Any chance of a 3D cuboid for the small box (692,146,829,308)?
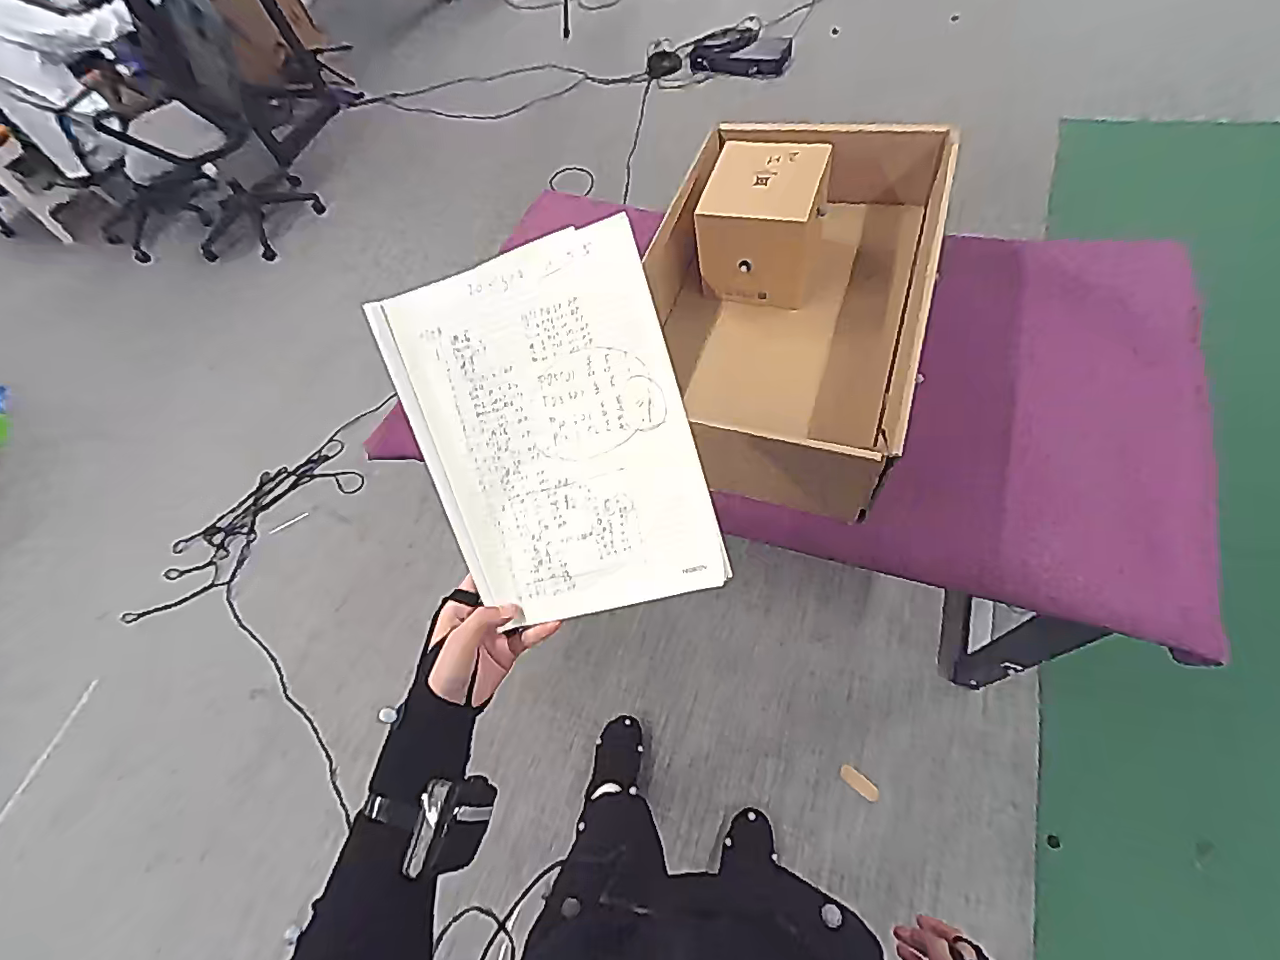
[{"bbox_3d":[0.196,-0.404,0.873,0.168,0.176,0.179,14,66,19],"label":"small box"}]
